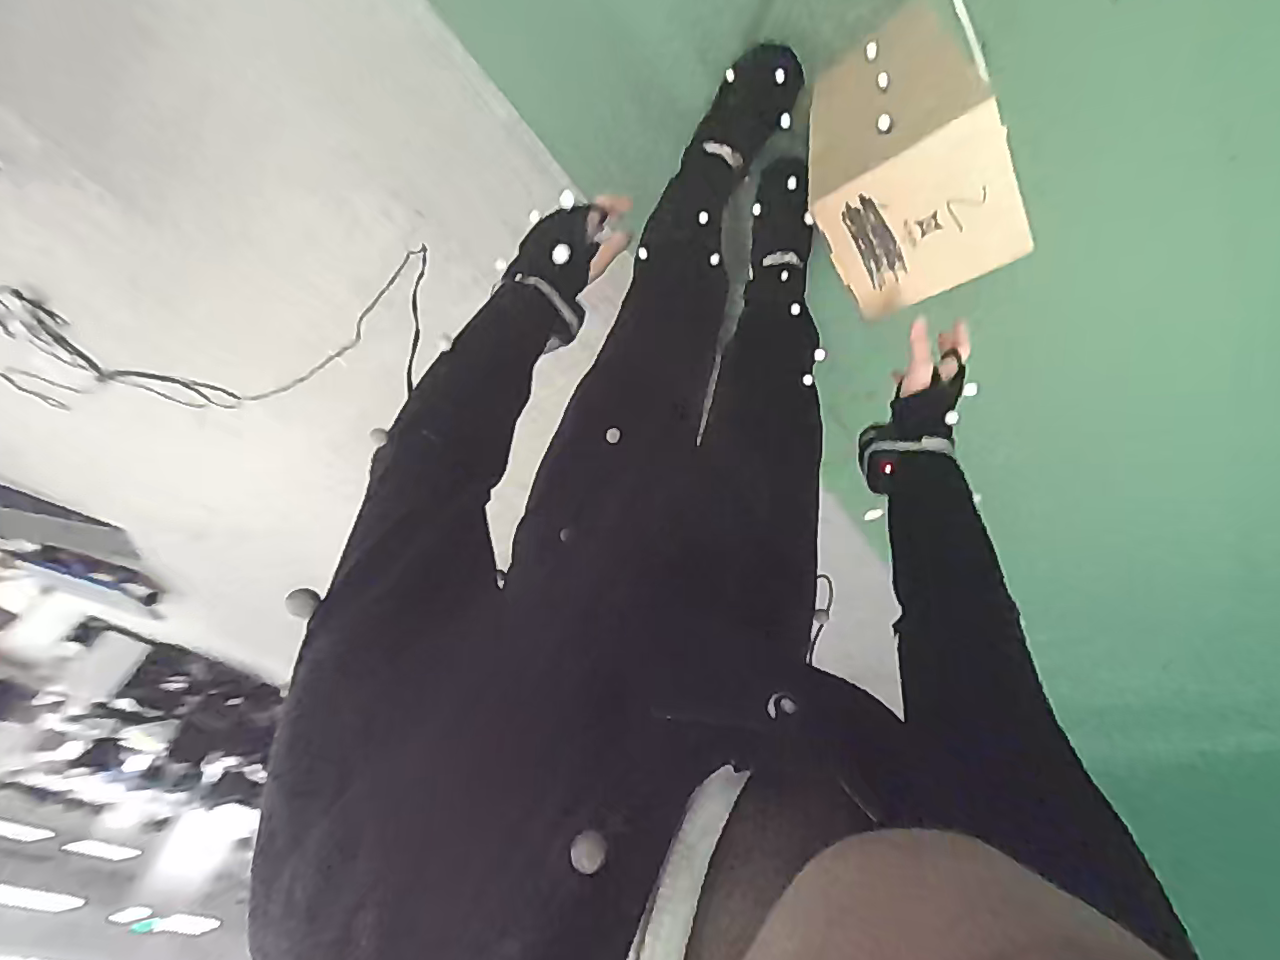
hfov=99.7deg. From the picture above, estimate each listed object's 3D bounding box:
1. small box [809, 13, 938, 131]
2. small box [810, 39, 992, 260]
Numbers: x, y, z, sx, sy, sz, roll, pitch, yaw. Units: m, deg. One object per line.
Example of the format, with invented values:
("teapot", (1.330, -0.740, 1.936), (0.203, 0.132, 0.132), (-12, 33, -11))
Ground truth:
("small box", (0.380, -0.565, 0.837), (0.179, 0.176, 0.168), (-21, 128, 36))
("small box", (0.343, -0.444, 0.730), (0.179, 0.176, 0.168), (-18, 129, 34))
